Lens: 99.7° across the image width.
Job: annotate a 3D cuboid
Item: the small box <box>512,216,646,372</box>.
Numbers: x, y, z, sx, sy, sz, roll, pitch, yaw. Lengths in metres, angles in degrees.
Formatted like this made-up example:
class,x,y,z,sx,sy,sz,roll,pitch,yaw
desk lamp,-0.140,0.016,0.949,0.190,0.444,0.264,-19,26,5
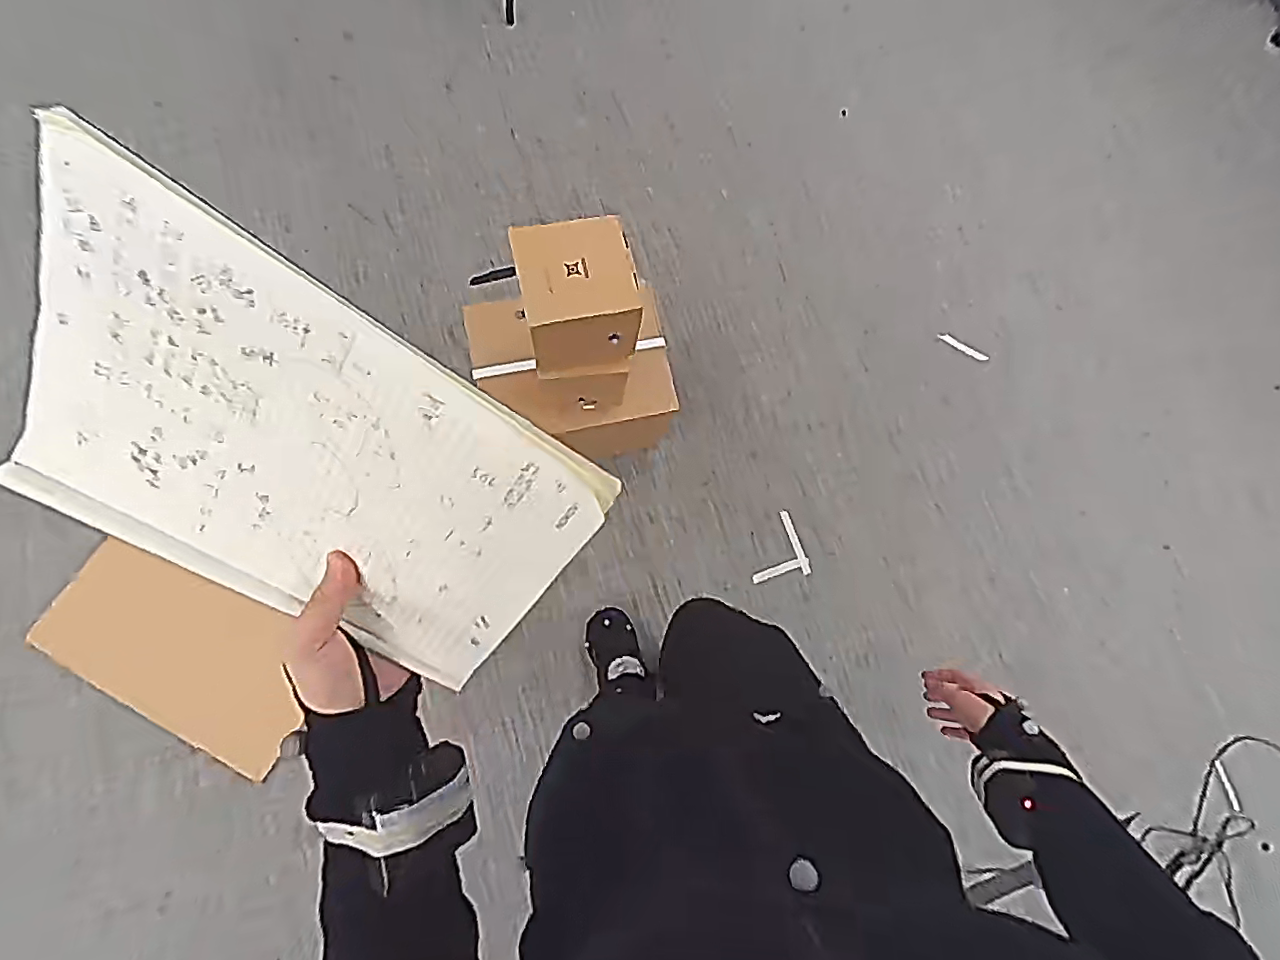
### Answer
class,x,y,z,sx,sy,sz,roll,pitch,yaw
small box,-0.099,-0.296,0.886,0.179,0.176,0.168,-13,79,-7
